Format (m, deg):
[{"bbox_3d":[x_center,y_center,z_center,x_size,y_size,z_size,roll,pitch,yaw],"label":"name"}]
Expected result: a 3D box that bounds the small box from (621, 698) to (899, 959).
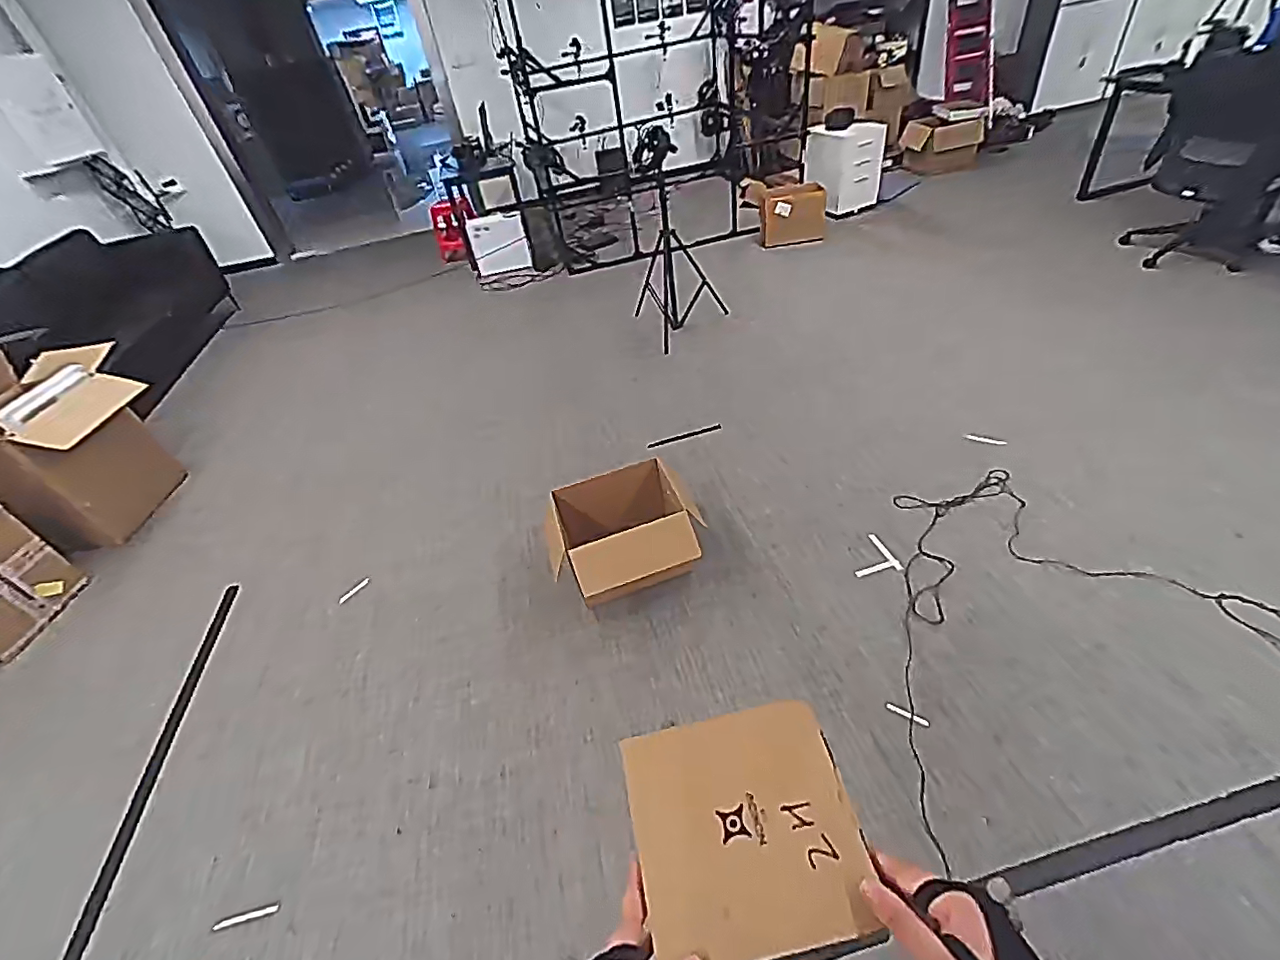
[{"bbox_3d":[0.090,0.319,0.481,0.179,0.176,0.168,-12,51,-3],"label":"small box"}]
